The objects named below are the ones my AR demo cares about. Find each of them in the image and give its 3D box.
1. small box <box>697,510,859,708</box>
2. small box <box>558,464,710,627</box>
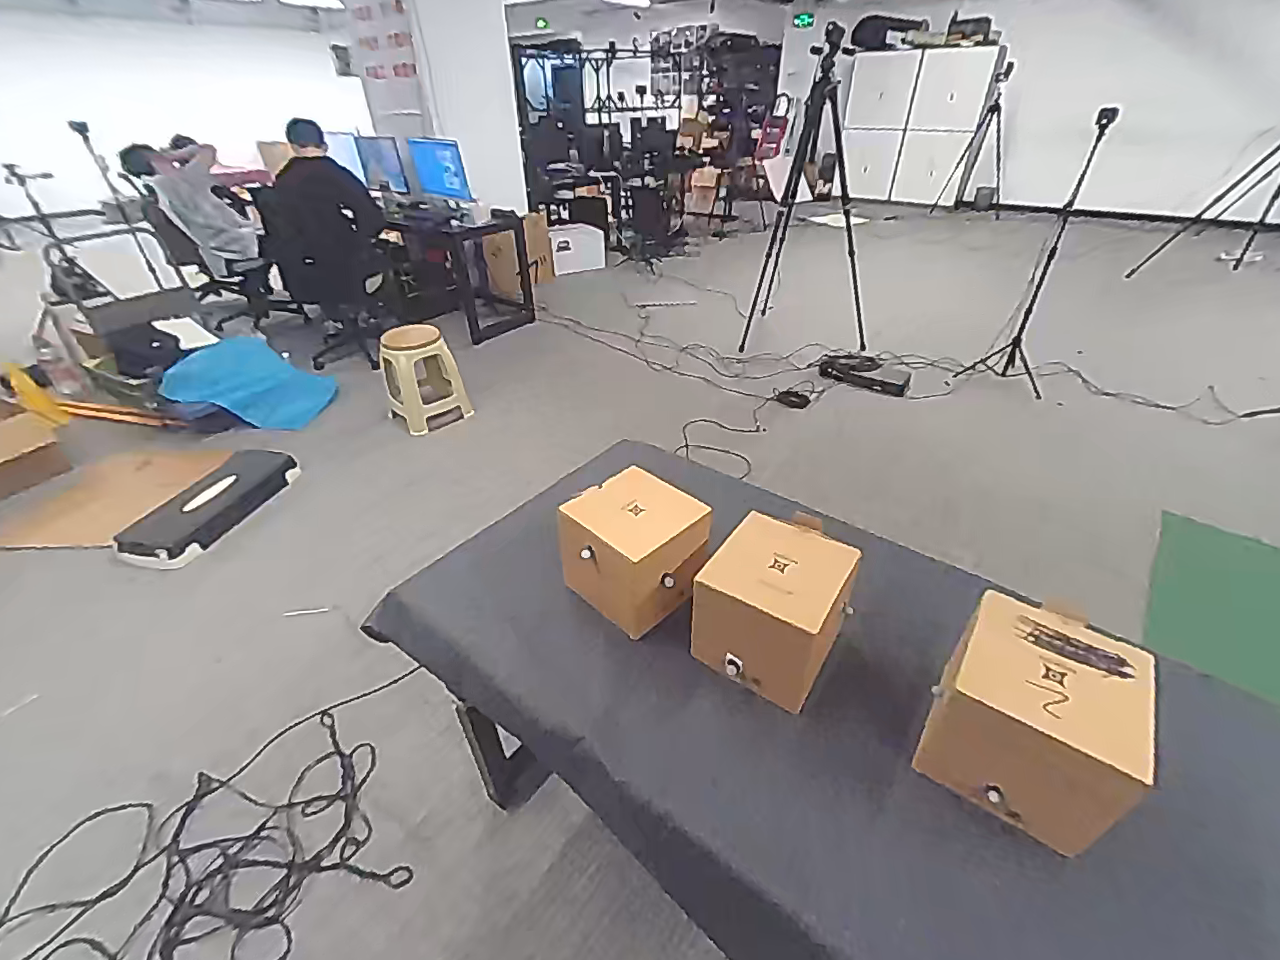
[{"bbox_3d":[0.187,0.176,0.764,0.168,0.176,0.179,20,40,28],"label":"small box"},{"bbox_3d":[-0.008,0.107,0.864,0.179,0.176,0.168,30,45,36],"label":"small box"}]
